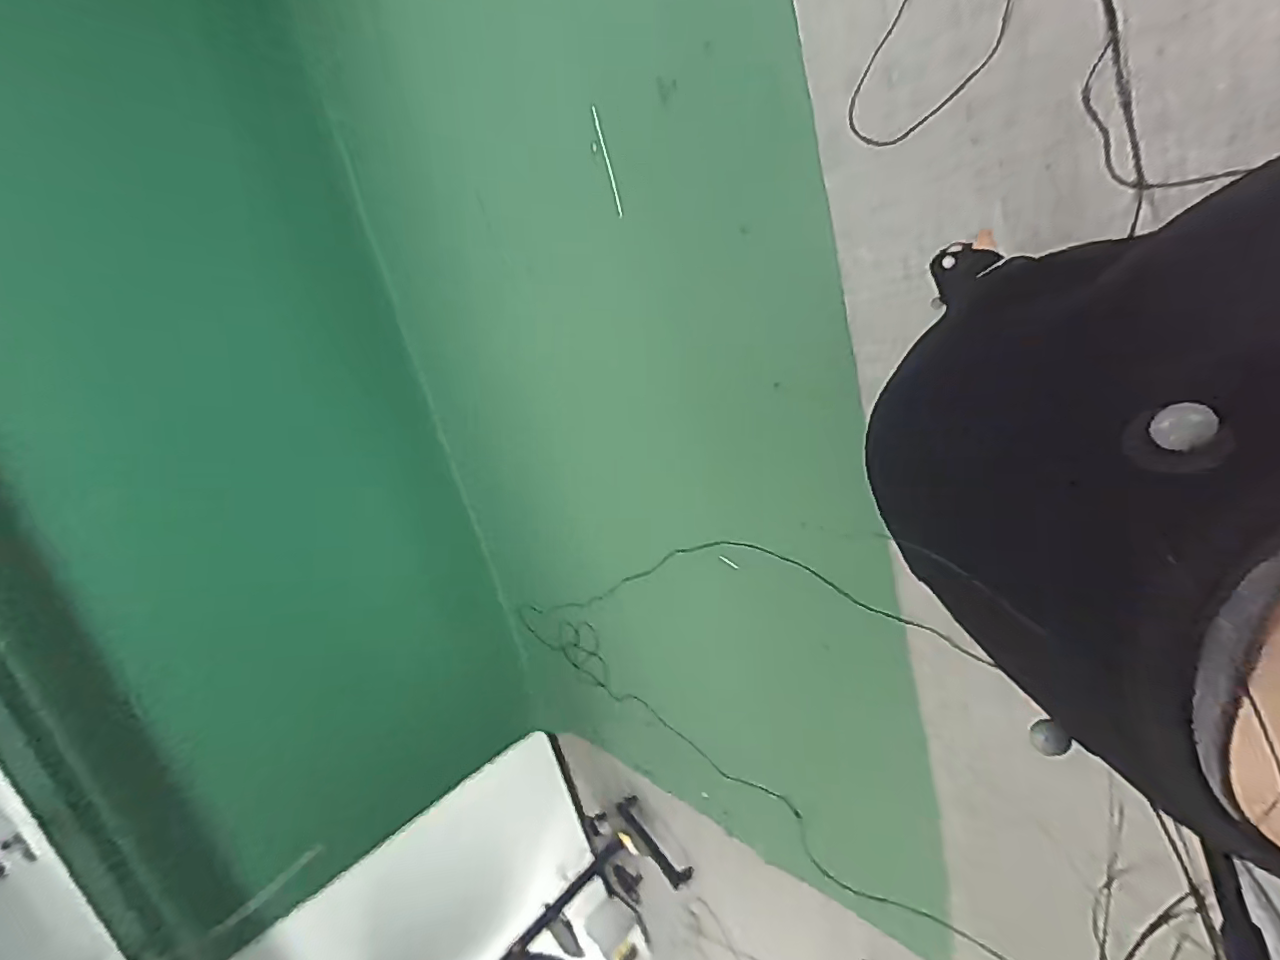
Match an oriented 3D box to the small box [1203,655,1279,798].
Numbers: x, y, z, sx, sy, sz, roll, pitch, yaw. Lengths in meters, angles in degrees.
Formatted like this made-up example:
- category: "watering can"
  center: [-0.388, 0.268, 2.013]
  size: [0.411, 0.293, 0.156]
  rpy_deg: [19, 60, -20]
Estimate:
- category: "small box"
  center: [1.099, 0.423, 0.926]
  size: [0.179, 0.176, 0.168]
  rpy_deg: [-3, 105, 50]
